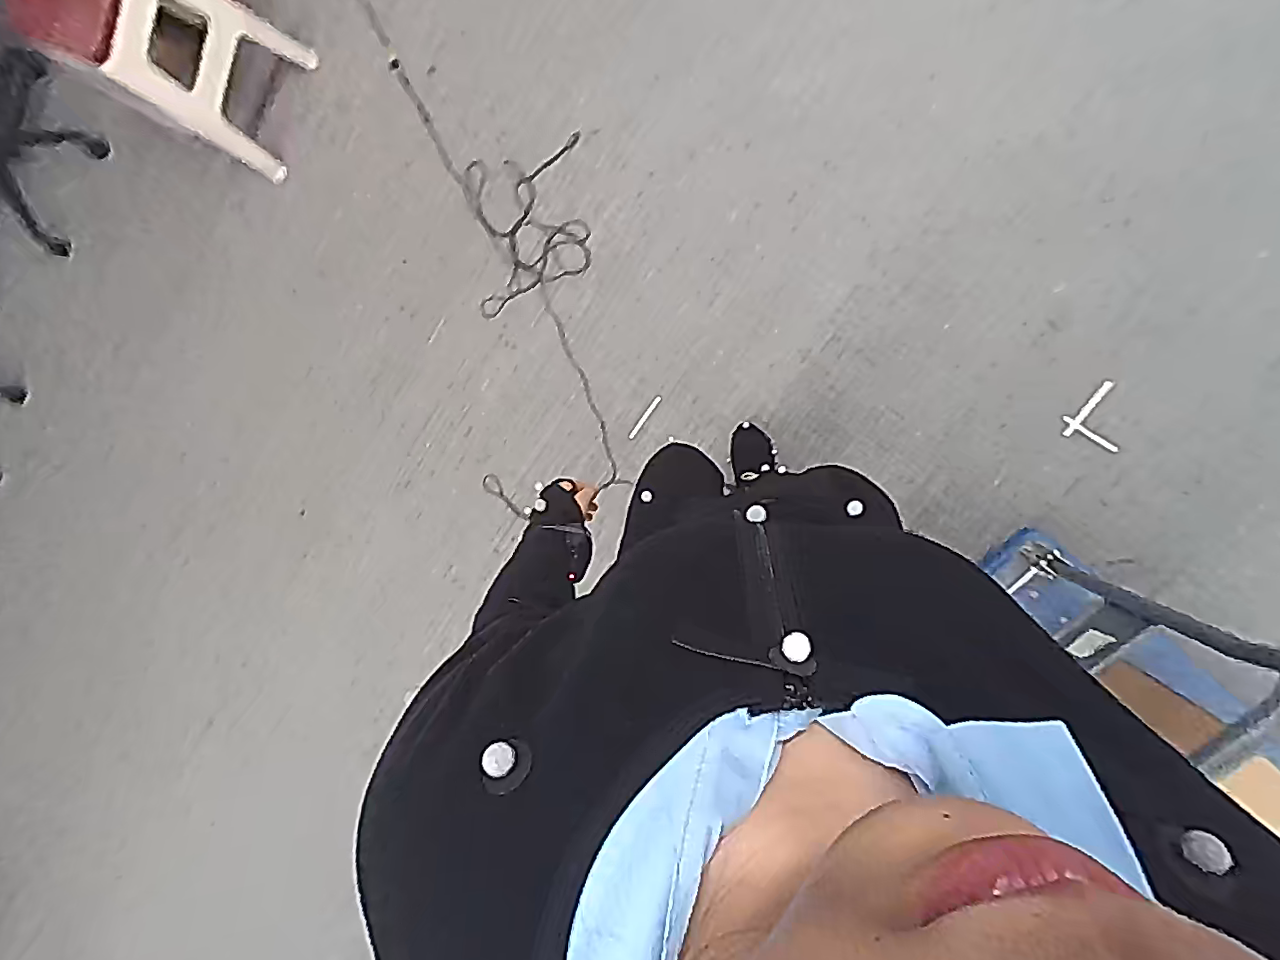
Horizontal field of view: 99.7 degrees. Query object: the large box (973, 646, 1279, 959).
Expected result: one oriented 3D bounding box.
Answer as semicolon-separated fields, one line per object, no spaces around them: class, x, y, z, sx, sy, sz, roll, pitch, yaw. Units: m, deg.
large box;0.977;0.614;1.065;0.320;0.320;0.408;43;101;5
